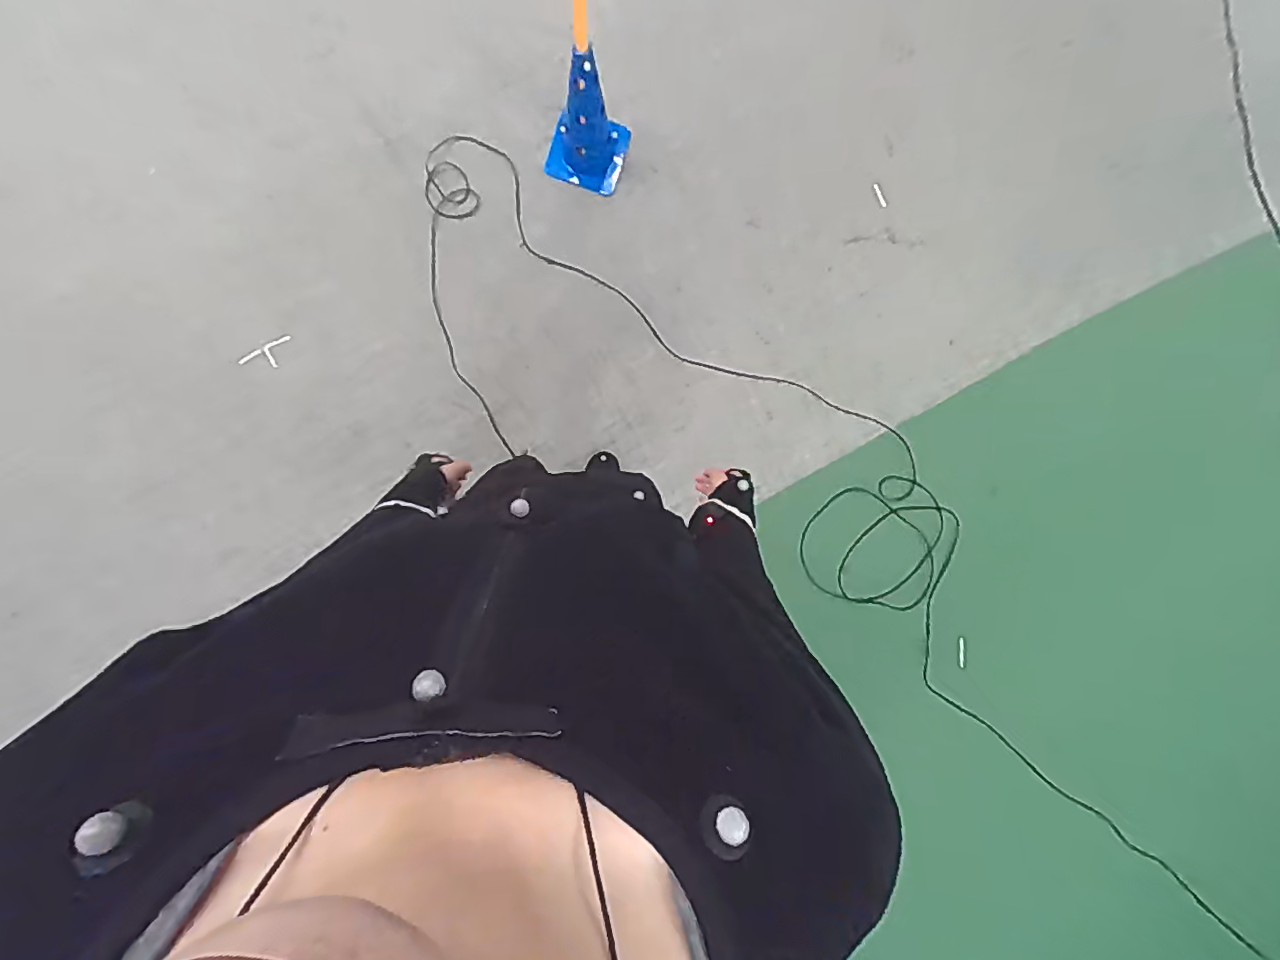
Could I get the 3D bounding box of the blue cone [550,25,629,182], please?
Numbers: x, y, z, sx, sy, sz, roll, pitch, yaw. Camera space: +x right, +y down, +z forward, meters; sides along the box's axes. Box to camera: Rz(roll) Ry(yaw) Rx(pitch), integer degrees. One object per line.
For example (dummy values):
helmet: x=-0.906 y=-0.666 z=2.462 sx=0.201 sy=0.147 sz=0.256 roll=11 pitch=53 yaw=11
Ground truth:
blue cone: x=-0.124 y=-0.911 z=1.287 sx=0.192 sy=0.380 sz=0.193 roll=17 pitch=88 yaw=-4
